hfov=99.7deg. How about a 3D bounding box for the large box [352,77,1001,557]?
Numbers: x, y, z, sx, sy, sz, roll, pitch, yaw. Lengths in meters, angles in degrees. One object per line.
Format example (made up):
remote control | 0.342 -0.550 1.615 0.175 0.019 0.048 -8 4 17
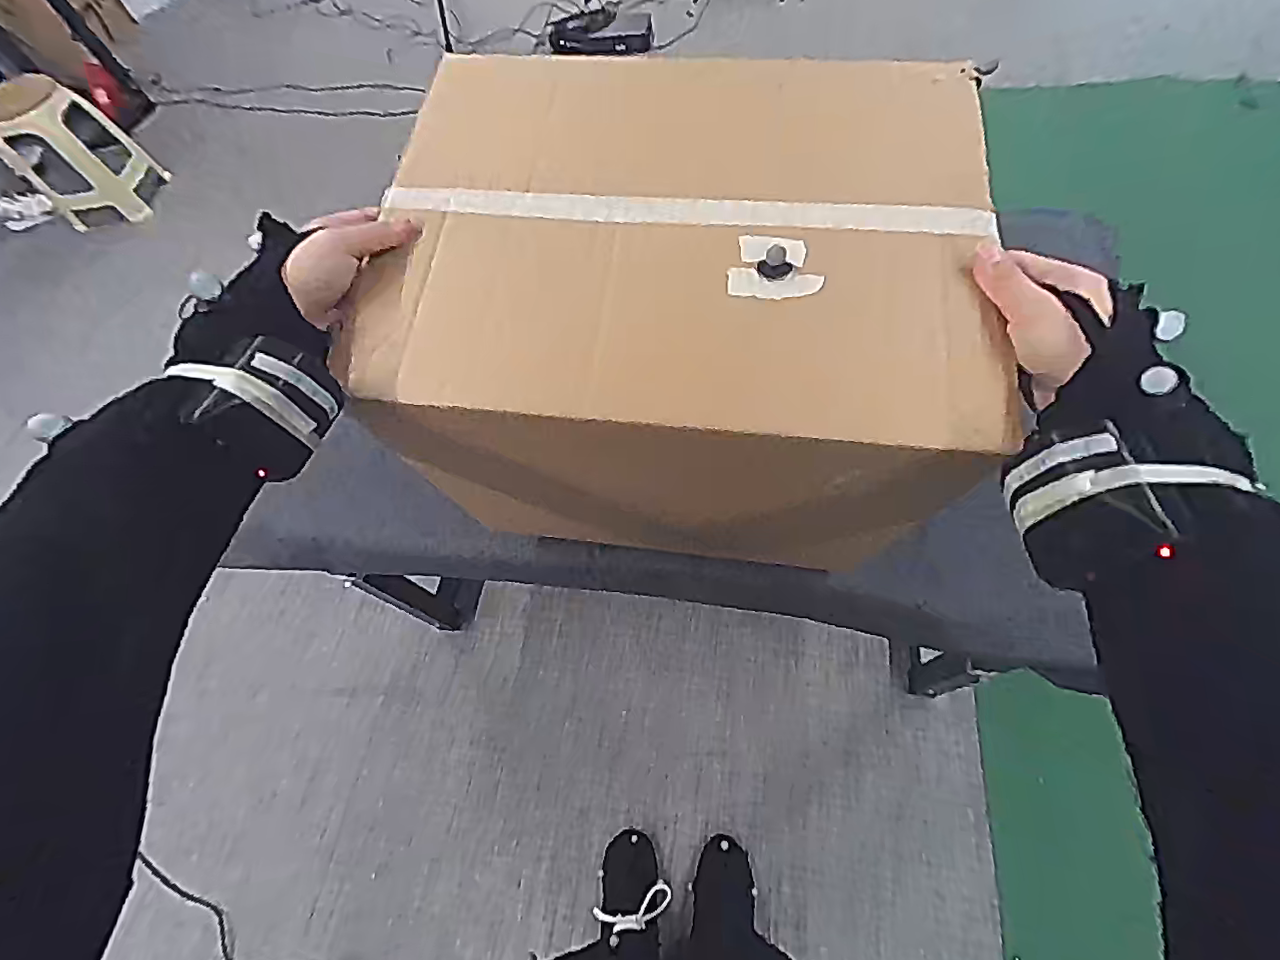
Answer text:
large box | 0.033 -0.125 0.518 0.408 0.320 0.320 5 70 5
